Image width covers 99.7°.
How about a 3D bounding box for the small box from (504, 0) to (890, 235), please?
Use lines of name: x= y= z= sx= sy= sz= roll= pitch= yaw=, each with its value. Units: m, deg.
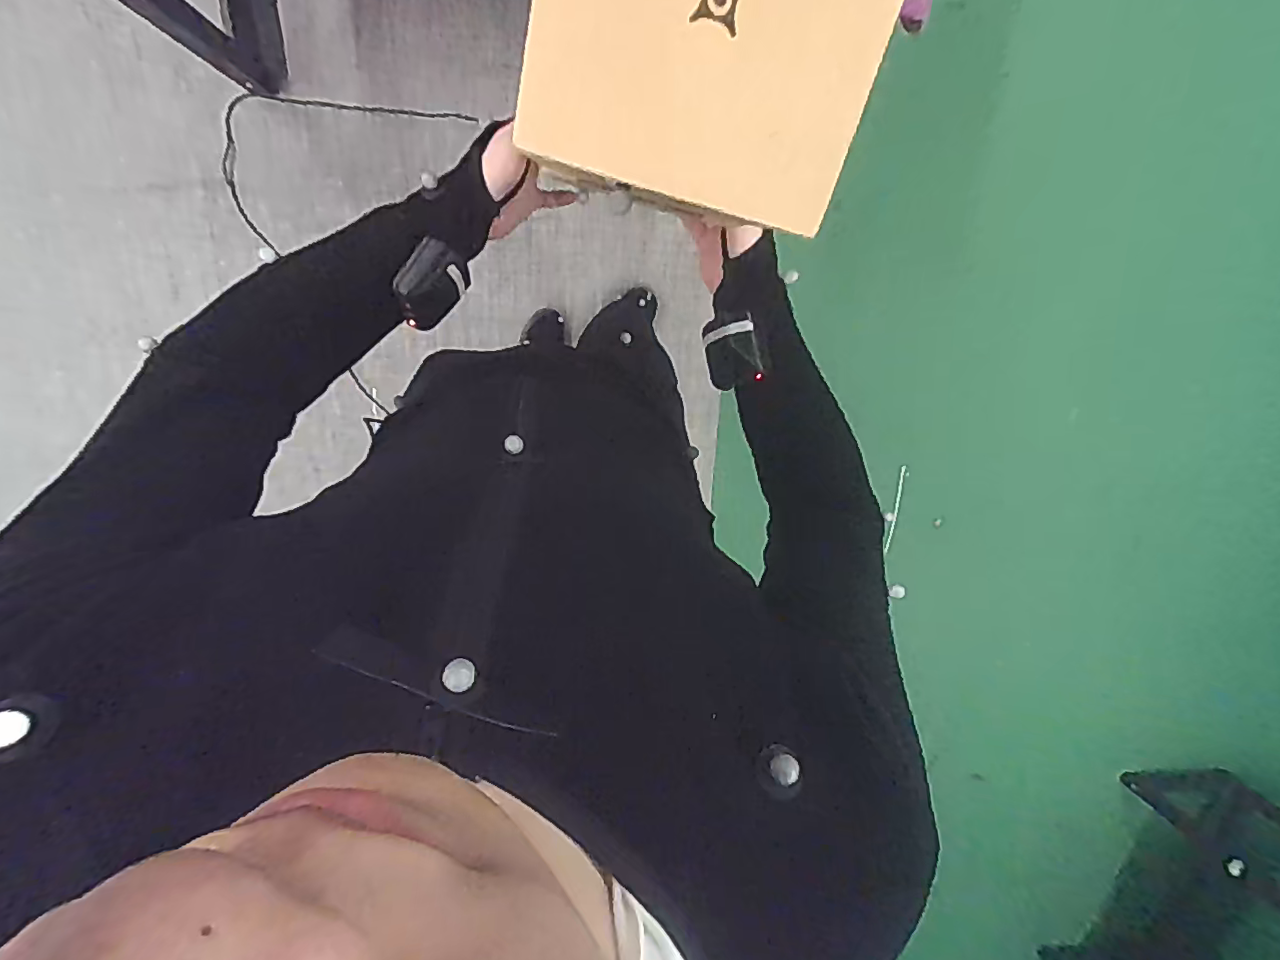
small box: x=0.029 y=-0.260 z=0.317 sx=0.168 sy=0.176 sz=0.179 roll=12 pitch=115 yaw=-10
